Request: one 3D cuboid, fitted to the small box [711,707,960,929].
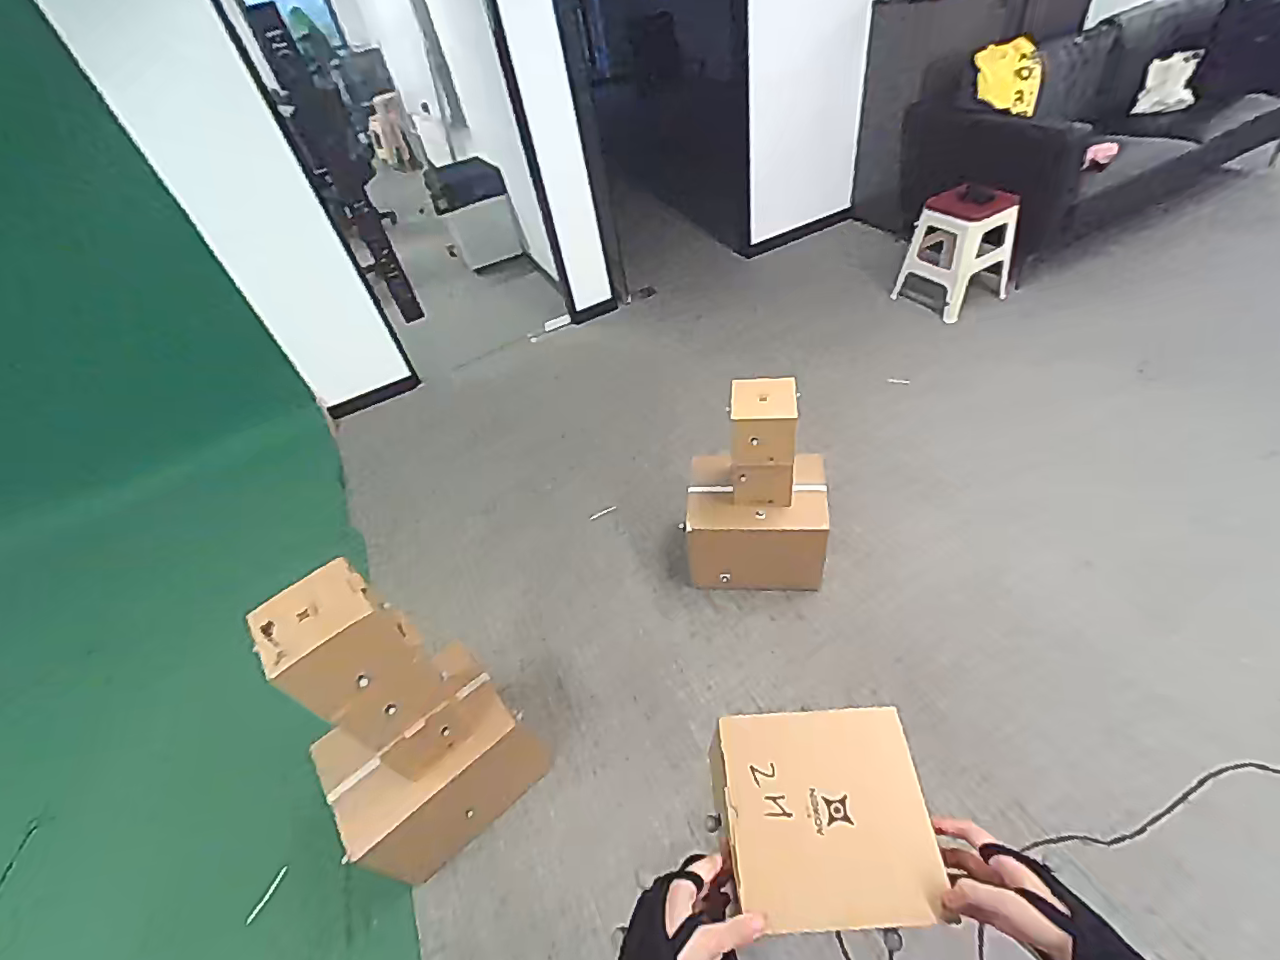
[{"bbox_3d":[0.169,0.332,0.537,0.179,0.176,0.168,-3,53,2],"label":"small box"}]

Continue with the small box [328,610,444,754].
[{"bbox_3d":[-0.518,0.404,1.083,0.179,0.176,0.168,-36,49,-23],"label":"small box"}]

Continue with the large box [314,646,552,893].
[{"bbox_3d":[-0.496,0.712,1.352,0.408,0.320,0.320,-36,47,-22],"label":"large box"}]

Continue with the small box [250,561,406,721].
[{"bbox_3d":[-0.546,0.287,0.970,0.179,0.176,0.168,-34,48,-23],"label":"small box"}]

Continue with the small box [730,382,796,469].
[{"bbox_3d":[0.331,-0.143,1.453,0.168,0.176,0.179,-1,43,12],"label":"small box"}]

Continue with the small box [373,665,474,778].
[{"bbox_3d":[-0.494,0.523,1.192,0.168,0.176,0.179,-35,48,-22],"label":"small box"}]
